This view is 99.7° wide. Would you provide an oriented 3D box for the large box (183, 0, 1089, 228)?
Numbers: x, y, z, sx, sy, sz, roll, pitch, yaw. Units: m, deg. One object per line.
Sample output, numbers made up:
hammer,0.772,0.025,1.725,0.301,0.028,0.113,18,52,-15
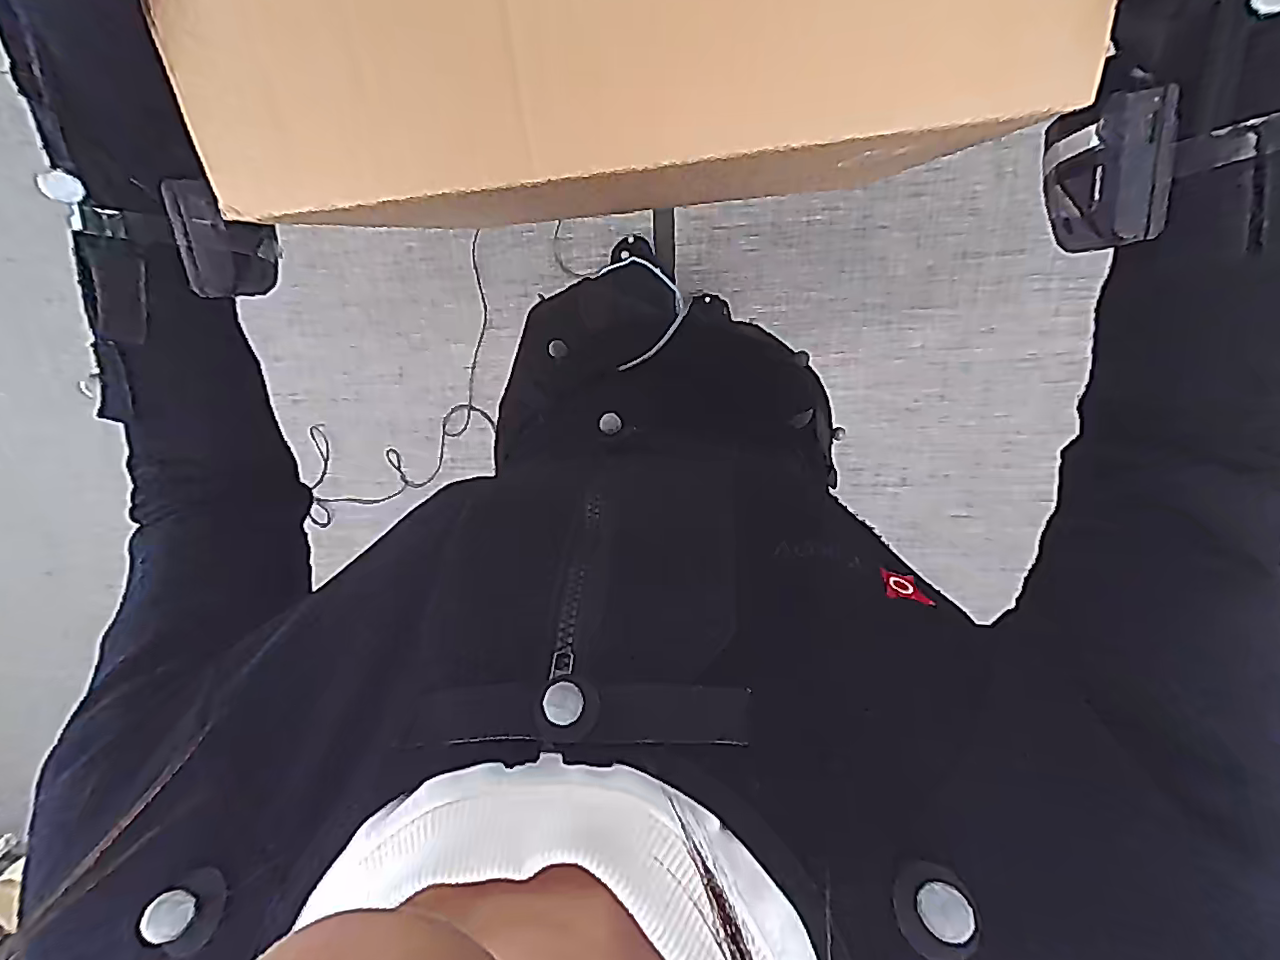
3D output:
large box,-0.012,-0.355,0.339,0.408,0.320,0.320,-4,114,7
